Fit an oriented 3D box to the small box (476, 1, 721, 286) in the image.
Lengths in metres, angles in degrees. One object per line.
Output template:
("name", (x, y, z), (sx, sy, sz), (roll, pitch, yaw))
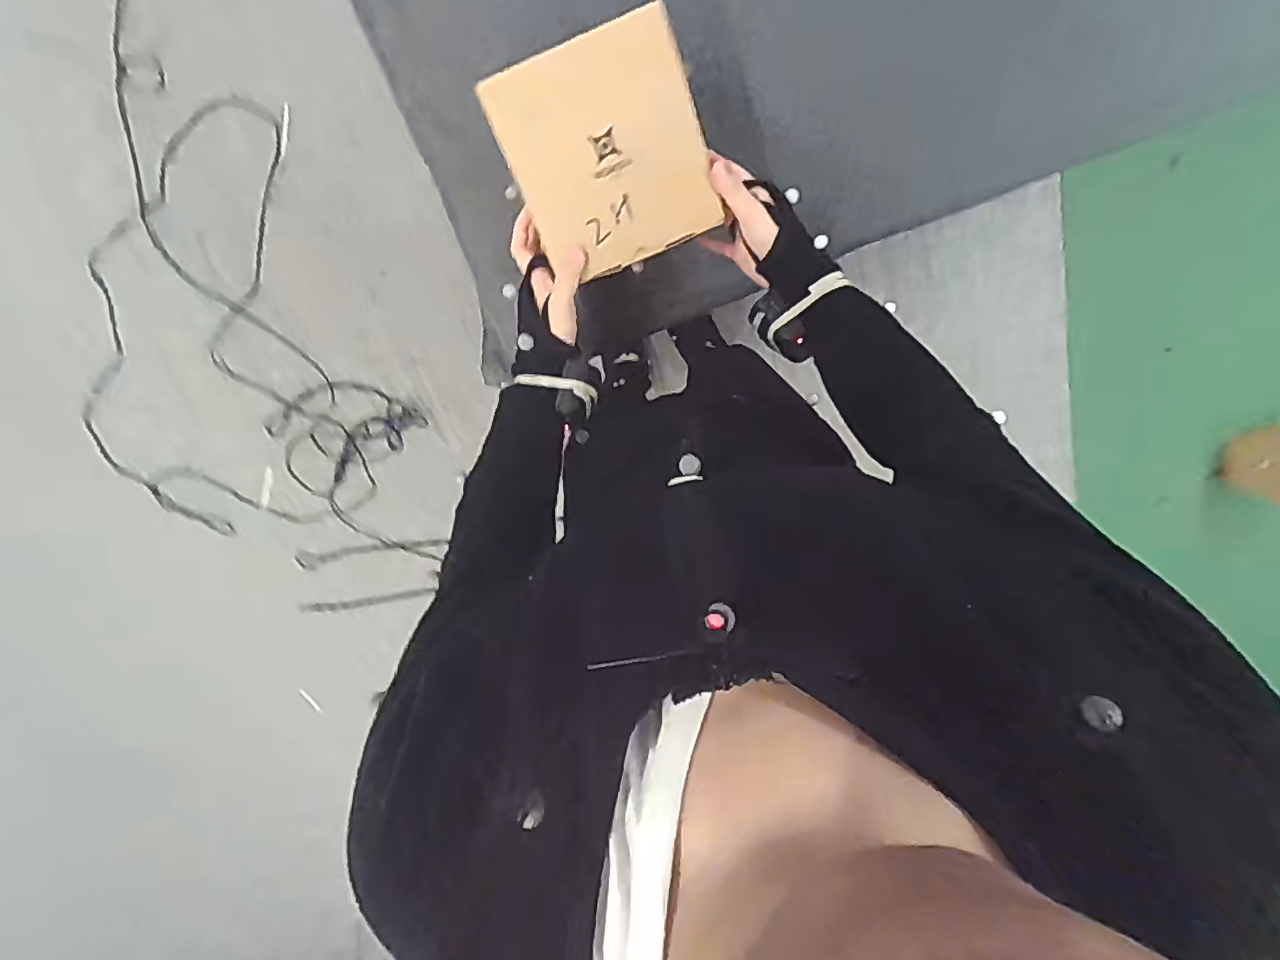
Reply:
("small box", (-0.038, -0.308, 0.539), (0.168, 0.176, 0.179), (-22, 112, 4))
